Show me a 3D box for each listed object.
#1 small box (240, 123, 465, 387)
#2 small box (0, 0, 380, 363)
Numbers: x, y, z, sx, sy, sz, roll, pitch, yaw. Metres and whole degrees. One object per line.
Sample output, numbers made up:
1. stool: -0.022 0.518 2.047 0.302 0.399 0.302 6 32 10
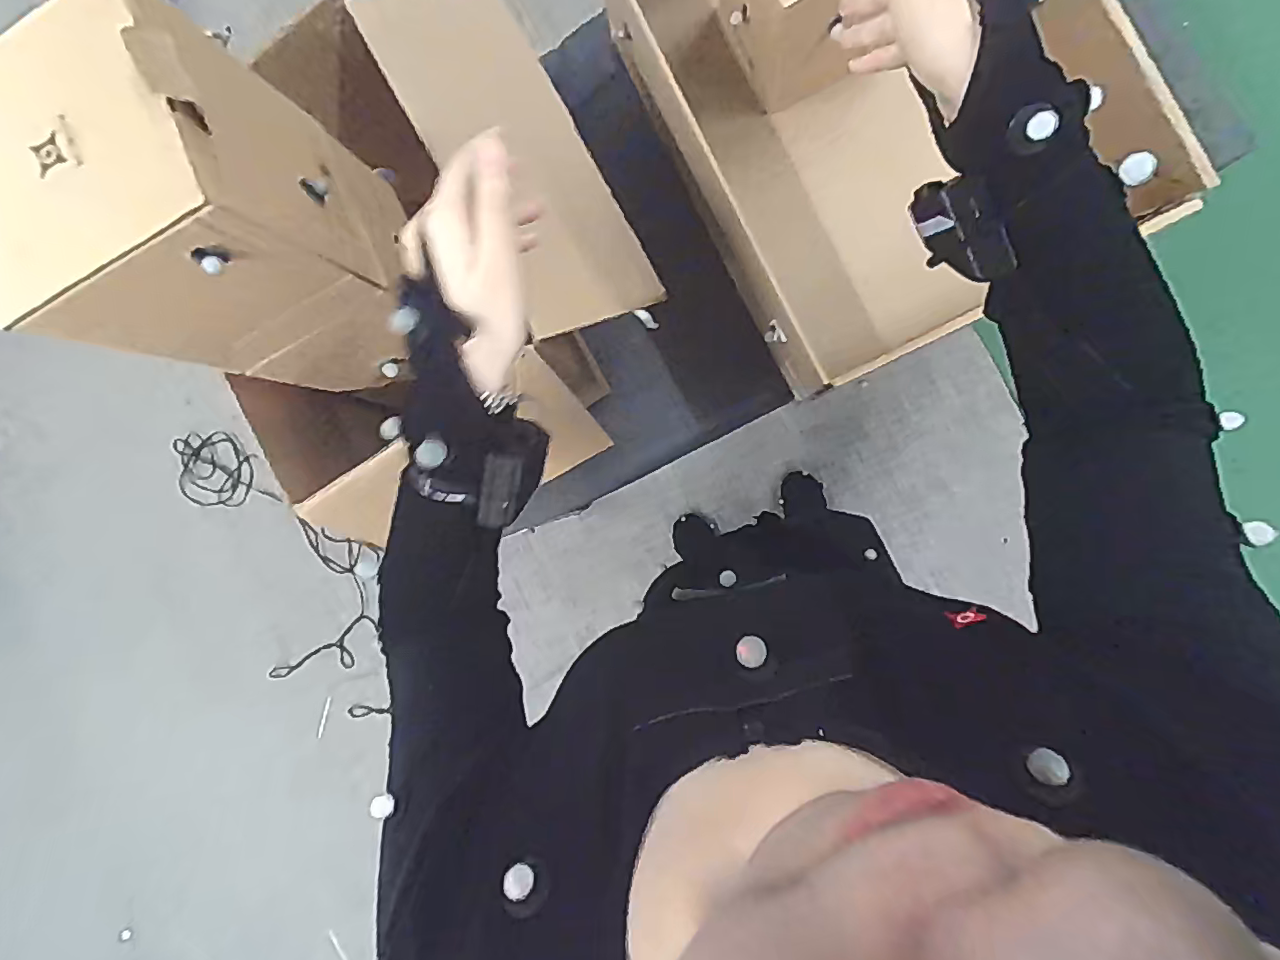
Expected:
1. small box: -0.321 -0.216 0.575 0.168 0.176 0.179 -24 90 9
2. small box: -0.346 -0.208 0.416 0.179 0.176 0.168 -24 88 9
